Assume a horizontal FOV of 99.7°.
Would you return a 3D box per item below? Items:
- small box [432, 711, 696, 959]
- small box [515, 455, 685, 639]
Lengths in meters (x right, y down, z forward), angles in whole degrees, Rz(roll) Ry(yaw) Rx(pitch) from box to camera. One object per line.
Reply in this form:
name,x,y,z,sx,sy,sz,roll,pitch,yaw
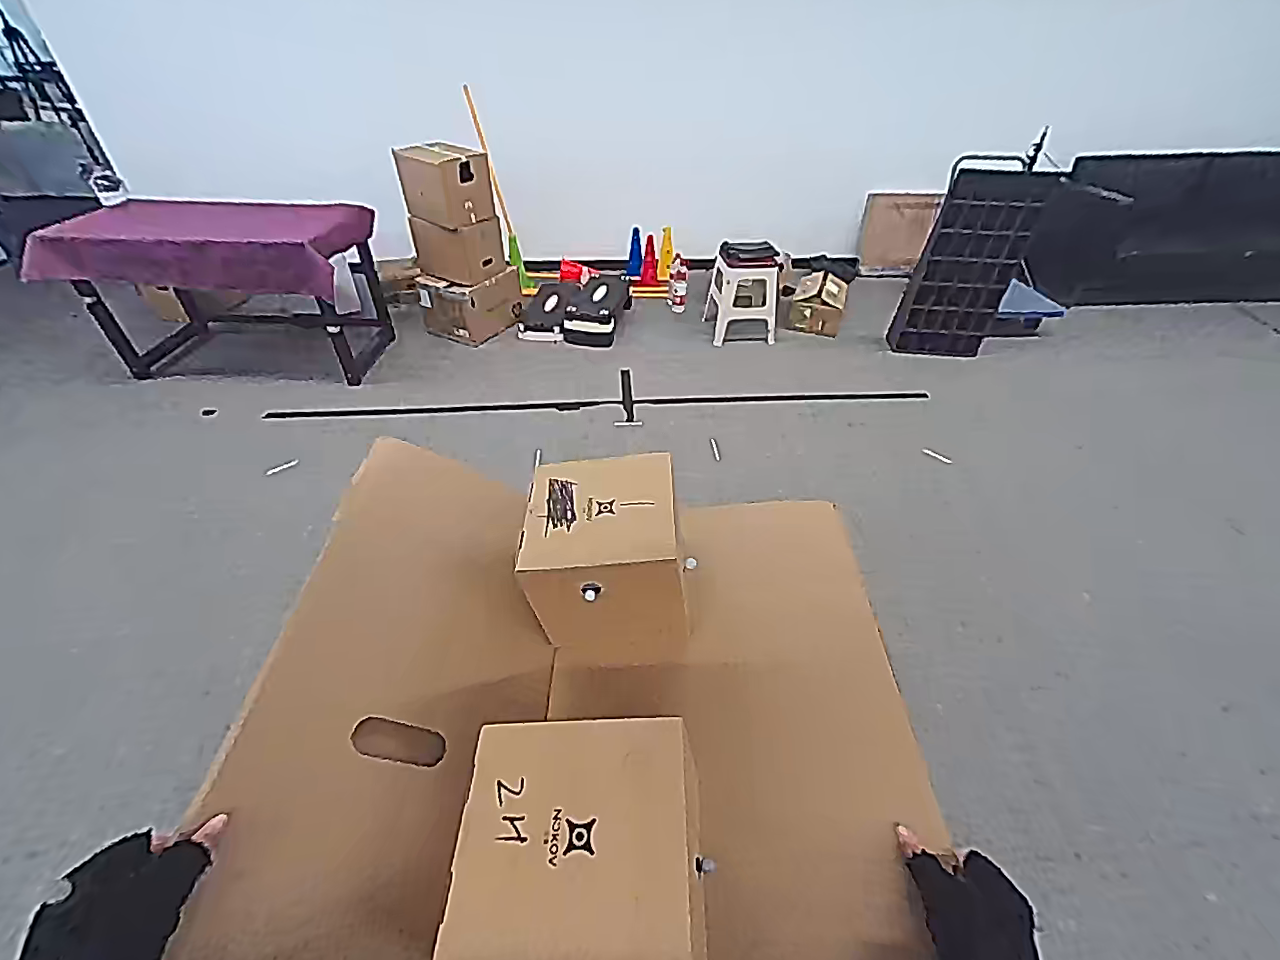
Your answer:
small box,-0.043,0.316,0.470,0.179,0.176,0.168,-5,45,8
small box,-0.039,0.090,0.694,0.179,0.176,0.168,-5,45,6
